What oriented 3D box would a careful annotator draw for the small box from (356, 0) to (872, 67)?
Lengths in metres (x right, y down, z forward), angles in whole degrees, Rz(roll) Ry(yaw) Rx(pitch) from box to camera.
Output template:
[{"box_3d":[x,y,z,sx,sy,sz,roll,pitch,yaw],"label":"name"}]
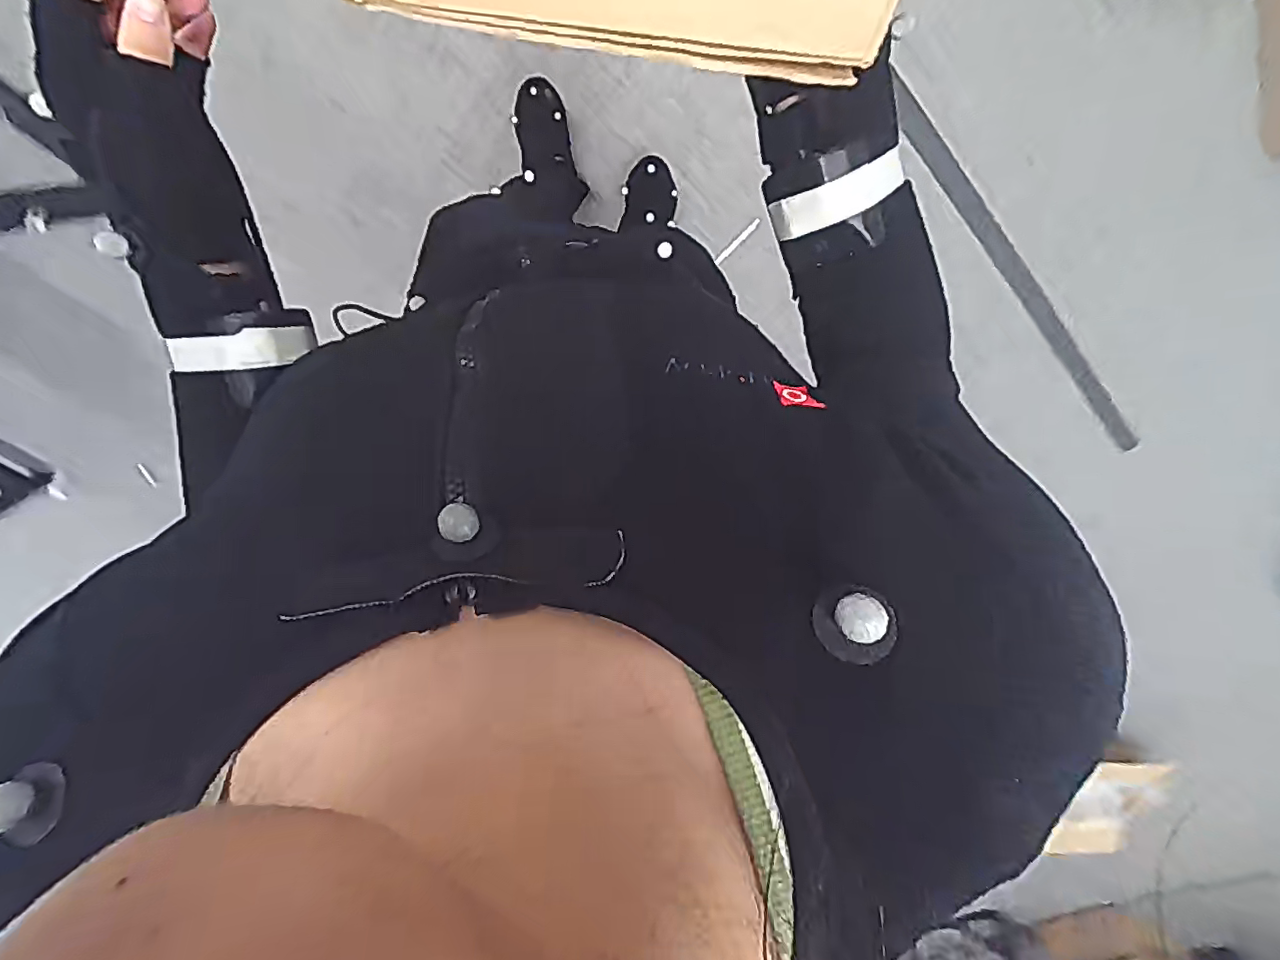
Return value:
[{"box_3d":[-0.005,-0.257,0.153,0.179,0.168,0.176,0,149,-6],"label":"small box"}]
